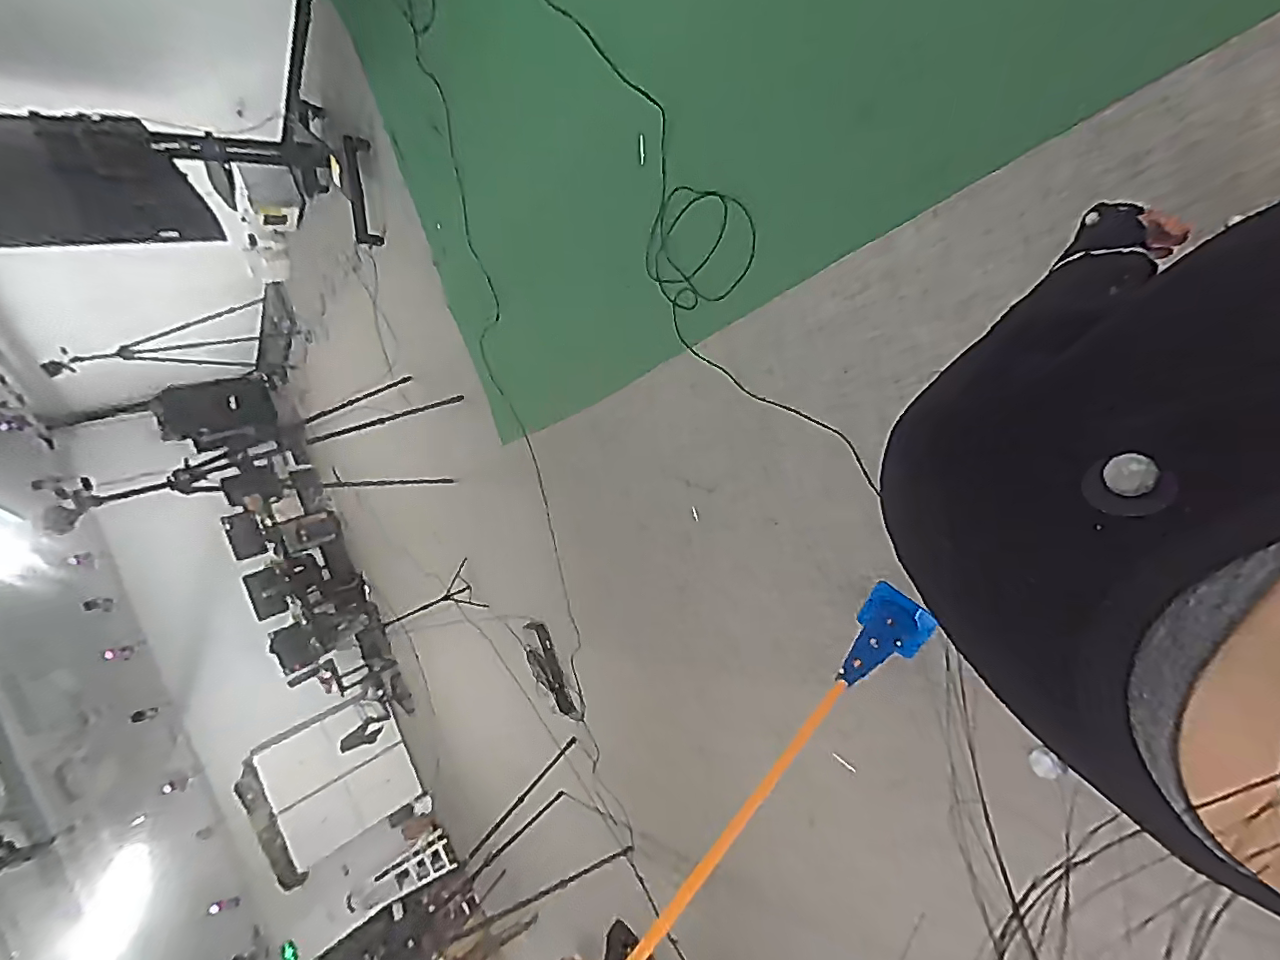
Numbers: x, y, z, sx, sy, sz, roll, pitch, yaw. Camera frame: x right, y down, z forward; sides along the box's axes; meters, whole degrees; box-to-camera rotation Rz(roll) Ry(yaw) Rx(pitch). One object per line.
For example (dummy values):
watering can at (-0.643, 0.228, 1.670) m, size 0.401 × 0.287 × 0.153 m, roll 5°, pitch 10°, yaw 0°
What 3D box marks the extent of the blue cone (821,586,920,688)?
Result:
blue cone at (0.652, 0.500, 1.599) m, size 0.192 × 0.380 × 0.193 m, roll 36°, pitch 133°, yaw 30°
